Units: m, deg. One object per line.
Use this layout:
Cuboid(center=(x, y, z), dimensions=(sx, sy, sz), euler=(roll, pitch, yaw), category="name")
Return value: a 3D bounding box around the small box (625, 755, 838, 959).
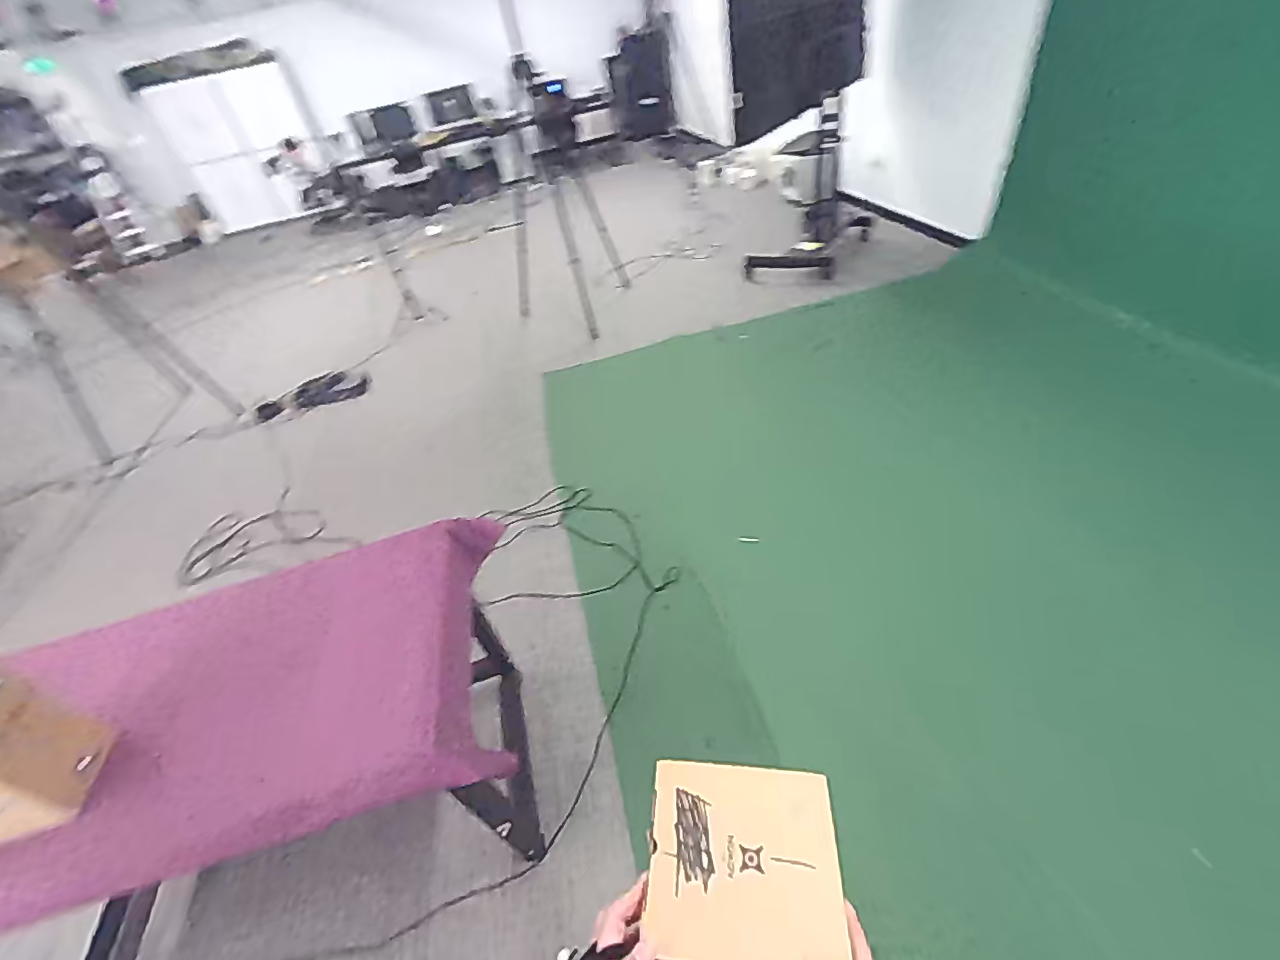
Cuboid(center=(0.088, 0.407, 0.548), dimensions=(0.179, 0.176, 0.168), euler=(1, 36, 7), category="small box")
